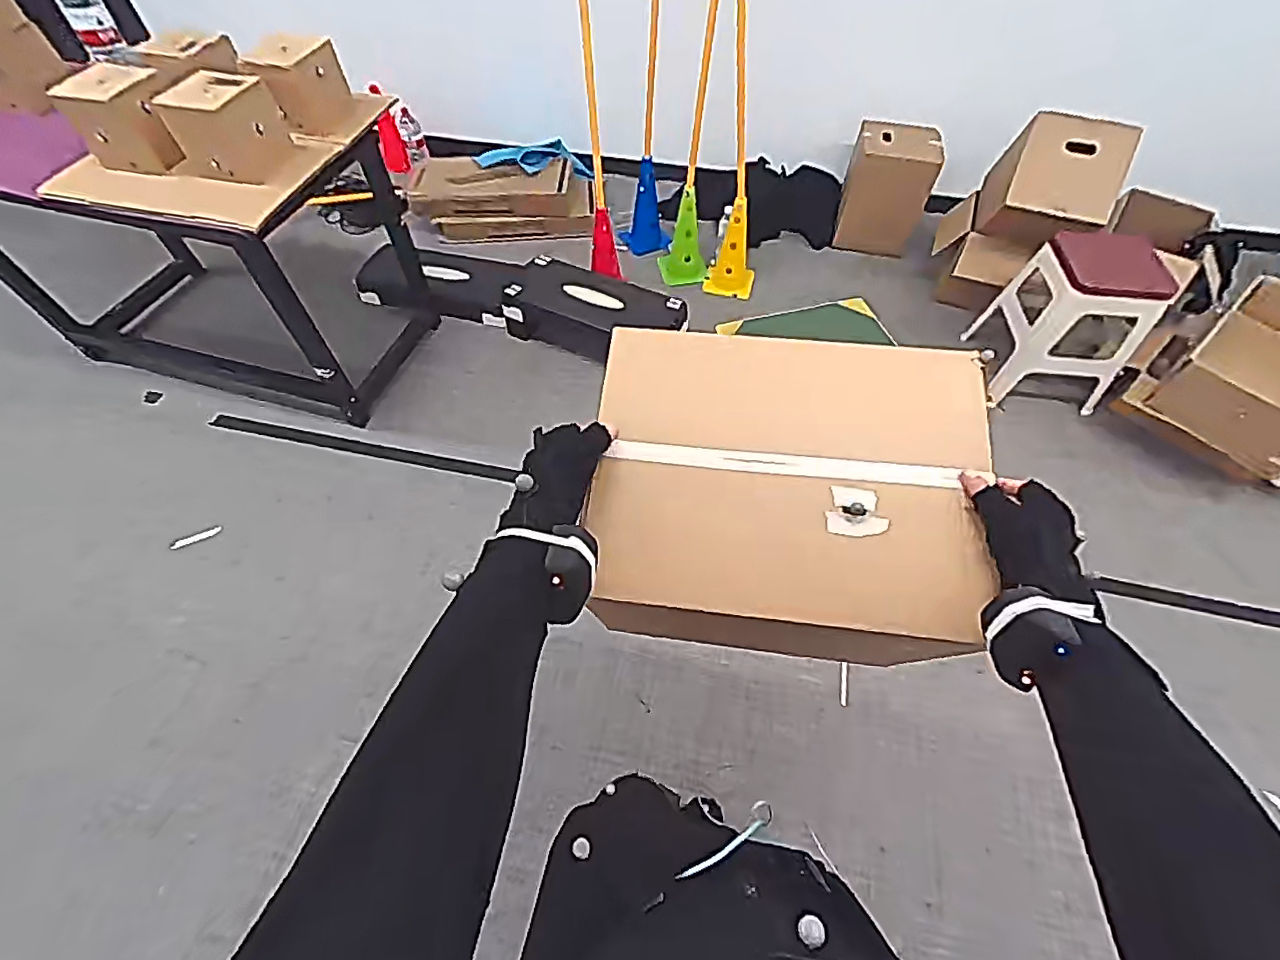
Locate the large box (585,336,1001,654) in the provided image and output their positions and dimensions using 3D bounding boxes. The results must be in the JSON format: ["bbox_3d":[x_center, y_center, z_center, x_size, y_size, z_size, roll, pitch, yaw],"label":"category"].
[{"bbox_3d":[0.164,0.039,0.710,0.408,0.320,0.320,6,70,6],"label":"large box"}]
